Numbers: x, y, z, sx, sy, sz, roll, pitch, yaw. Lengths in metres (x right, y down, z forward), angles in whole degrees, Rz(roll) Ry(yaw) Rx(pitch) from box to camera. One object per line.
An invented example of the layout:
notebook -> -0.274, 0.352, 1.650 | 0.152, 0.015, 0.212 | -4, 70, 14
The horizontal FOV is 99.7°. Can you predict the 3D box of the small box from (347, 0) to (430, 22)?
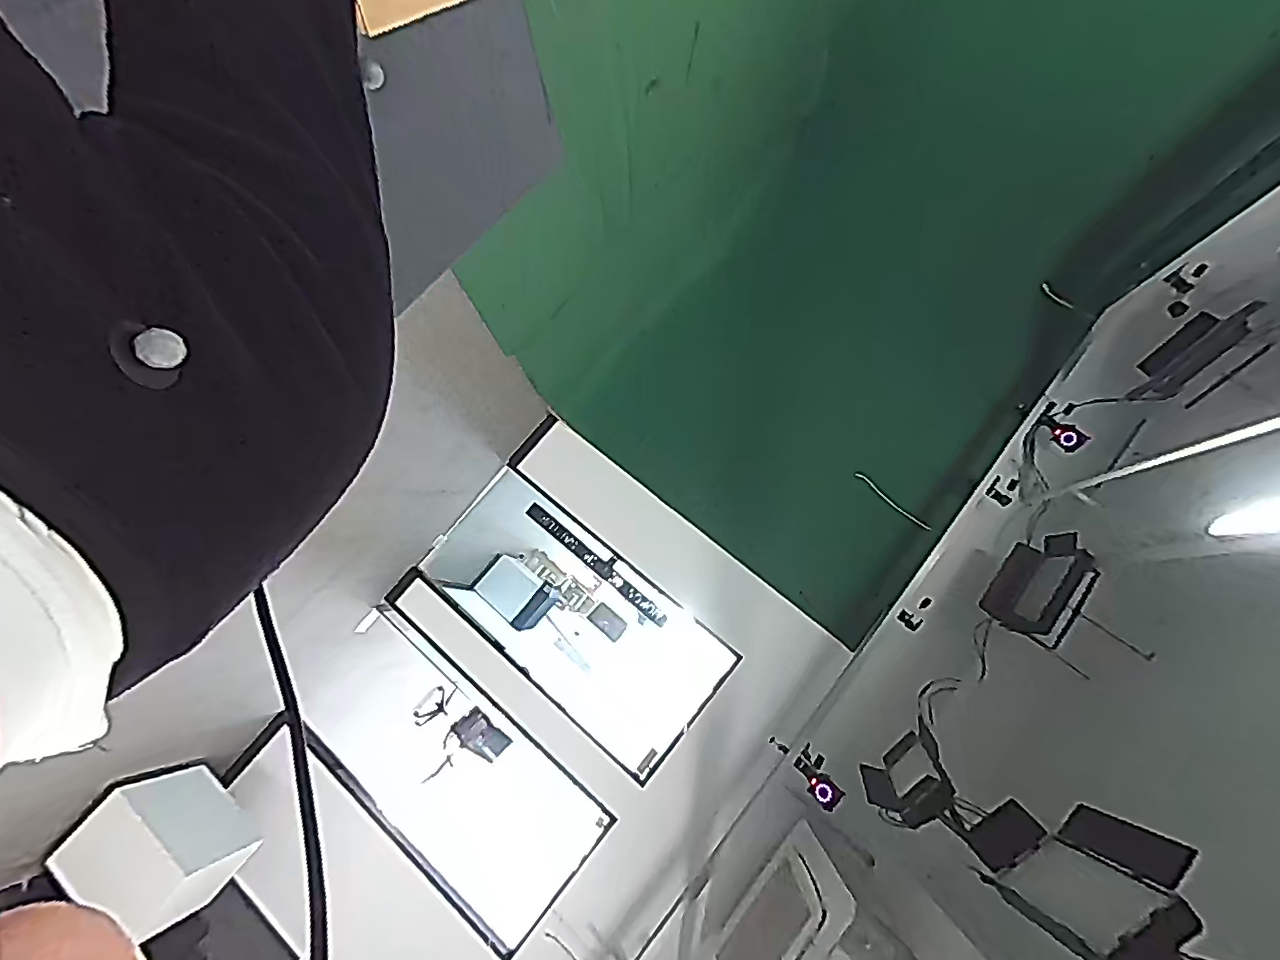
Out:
small box -> -0.304, -0.650, 0.580 | 0.179, 0.176, 0.168 | -46, 170, -24
